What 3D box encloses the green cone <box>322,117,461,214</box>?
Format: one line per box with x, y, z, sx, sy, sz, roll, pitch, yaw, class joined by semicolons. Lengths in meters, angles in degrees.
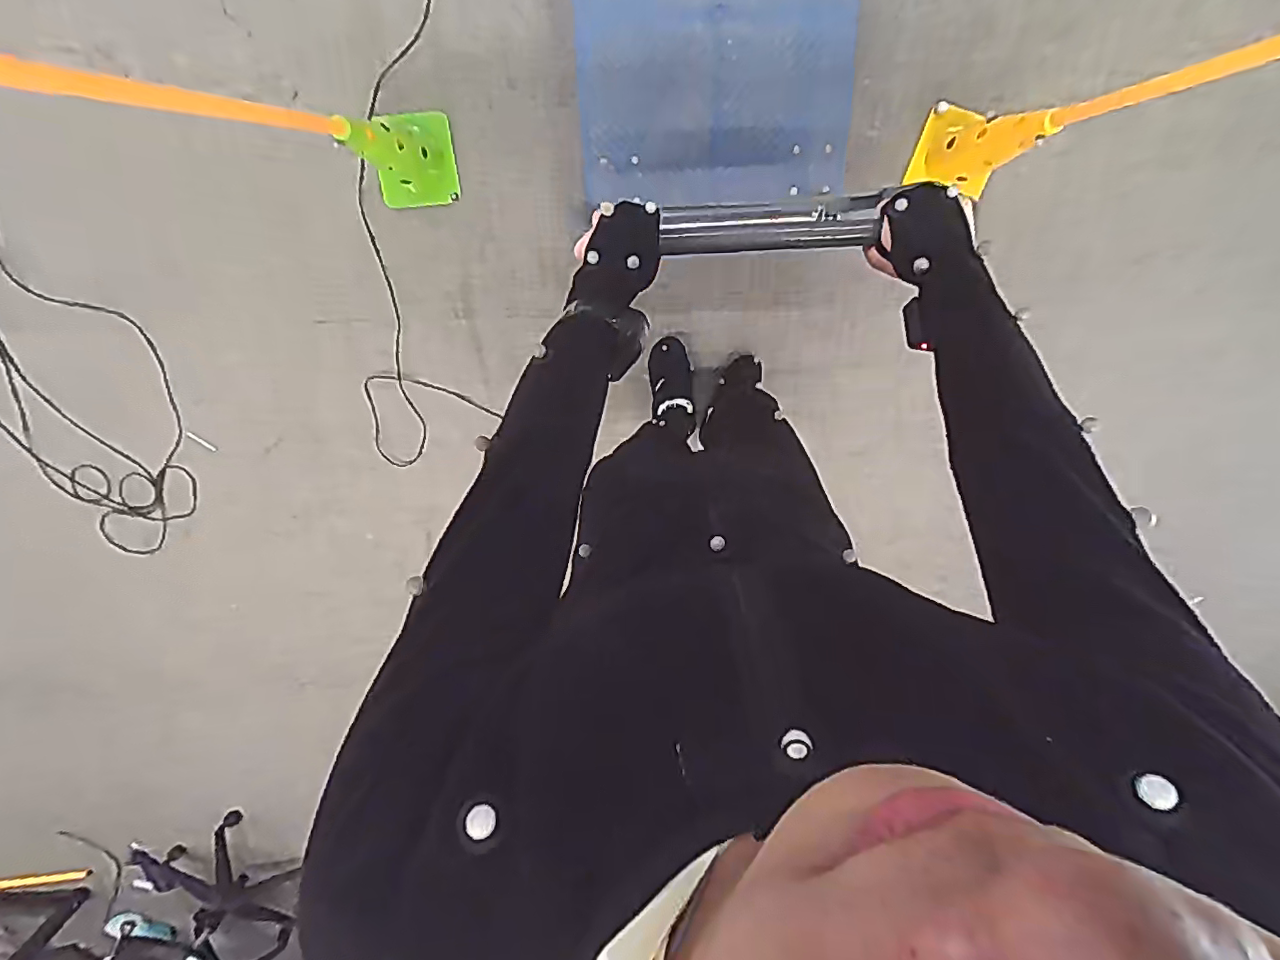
-0.566;-0.719;1.183;0.202;0.368;0.200;-4;110;5;green cone
